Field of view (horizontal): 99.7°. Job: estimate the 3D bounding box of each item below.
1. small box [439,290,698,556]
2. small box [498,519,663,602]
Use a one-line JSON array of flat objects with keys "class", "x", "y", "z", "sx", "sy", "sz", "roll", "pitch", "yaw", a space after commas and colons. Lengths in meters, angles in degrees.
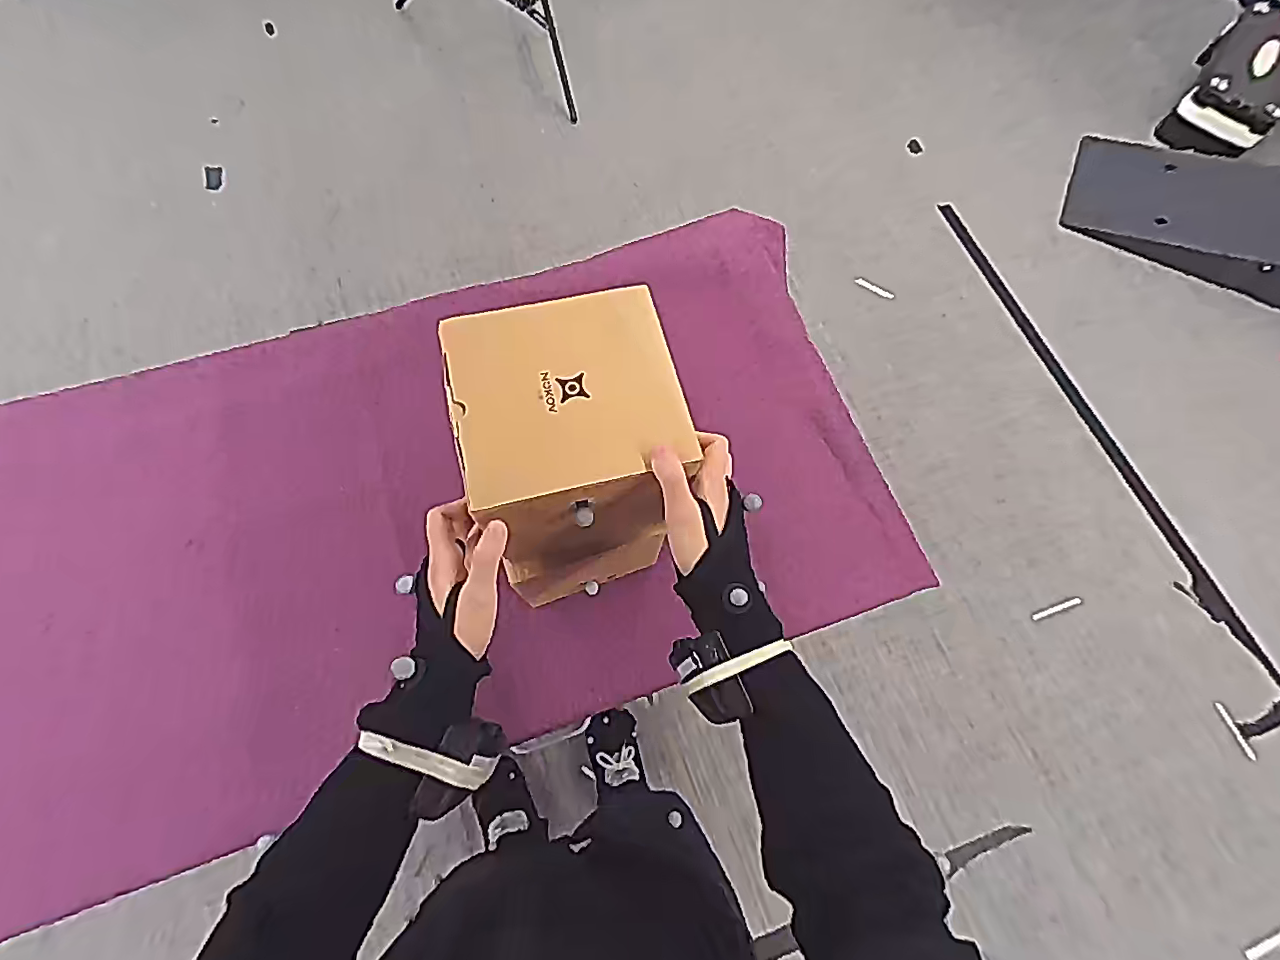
[{"class": "small box", "x": -0.062, "y": -0.041, "z": 0.494, "sx": 0.179, "sy": 0.176, "sz": 0.168, "roll": -13, "pitch": 71, "yaw": -7}, {"class": "small box", "x": -0.085, "y": 0.029, "z": 0.640, "sx": 0.168, "sy": 0.176, "sz": 0.179, "roll": -18, "pitch": 72, "yaw": -9}]
